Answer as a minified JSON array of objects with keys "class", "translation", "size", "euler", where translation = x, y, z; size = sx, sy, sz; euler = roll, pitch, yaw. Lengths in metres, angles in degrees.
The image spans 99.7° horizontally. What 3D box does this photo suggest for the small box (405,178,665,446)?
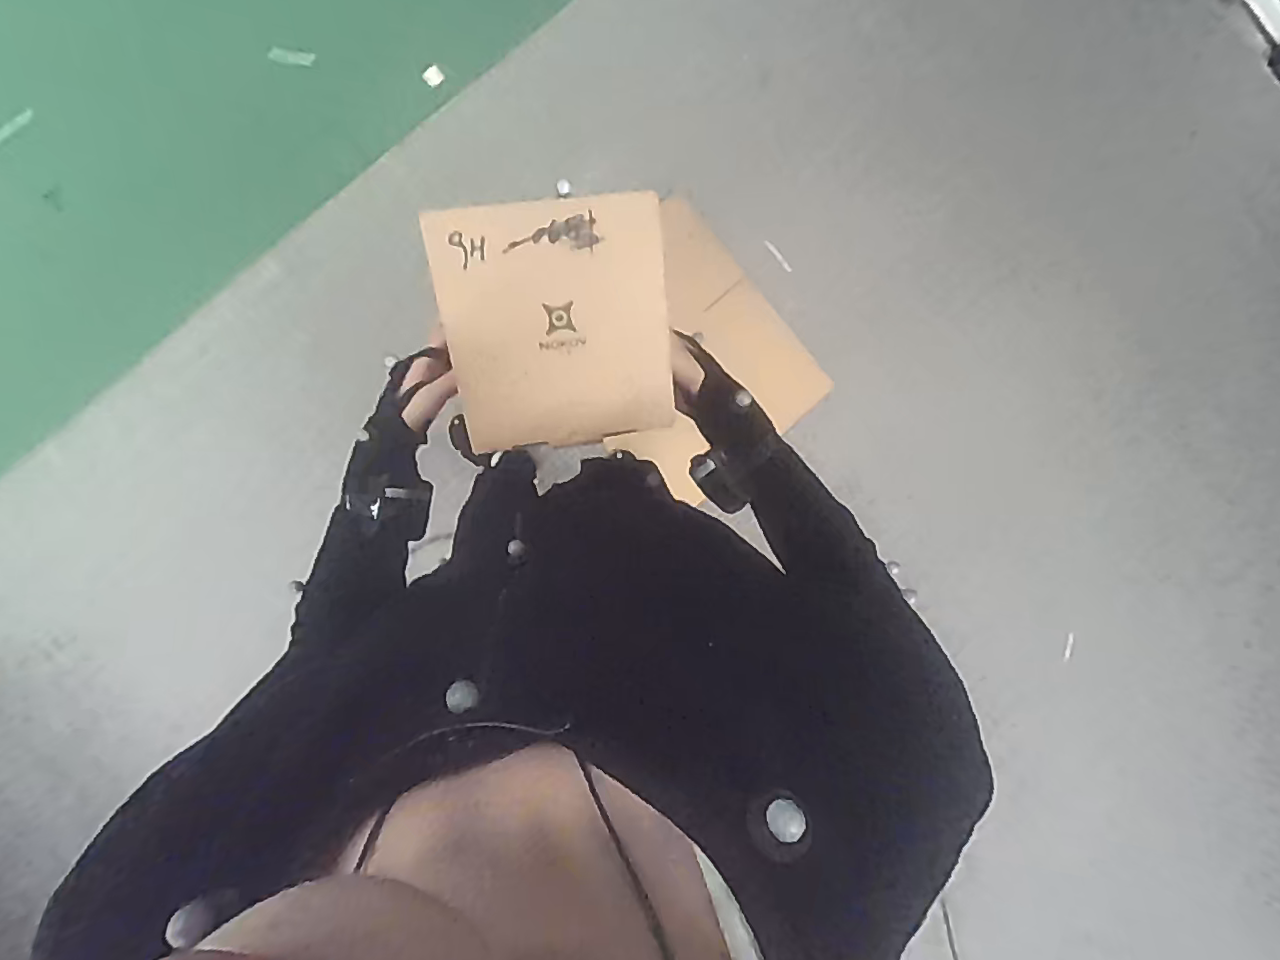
[{"class":"small box","translation":[-0.079,-0.148,0.467],"size":[0.168,0.176,0.179],"euler":[-10,114,-7]}]
